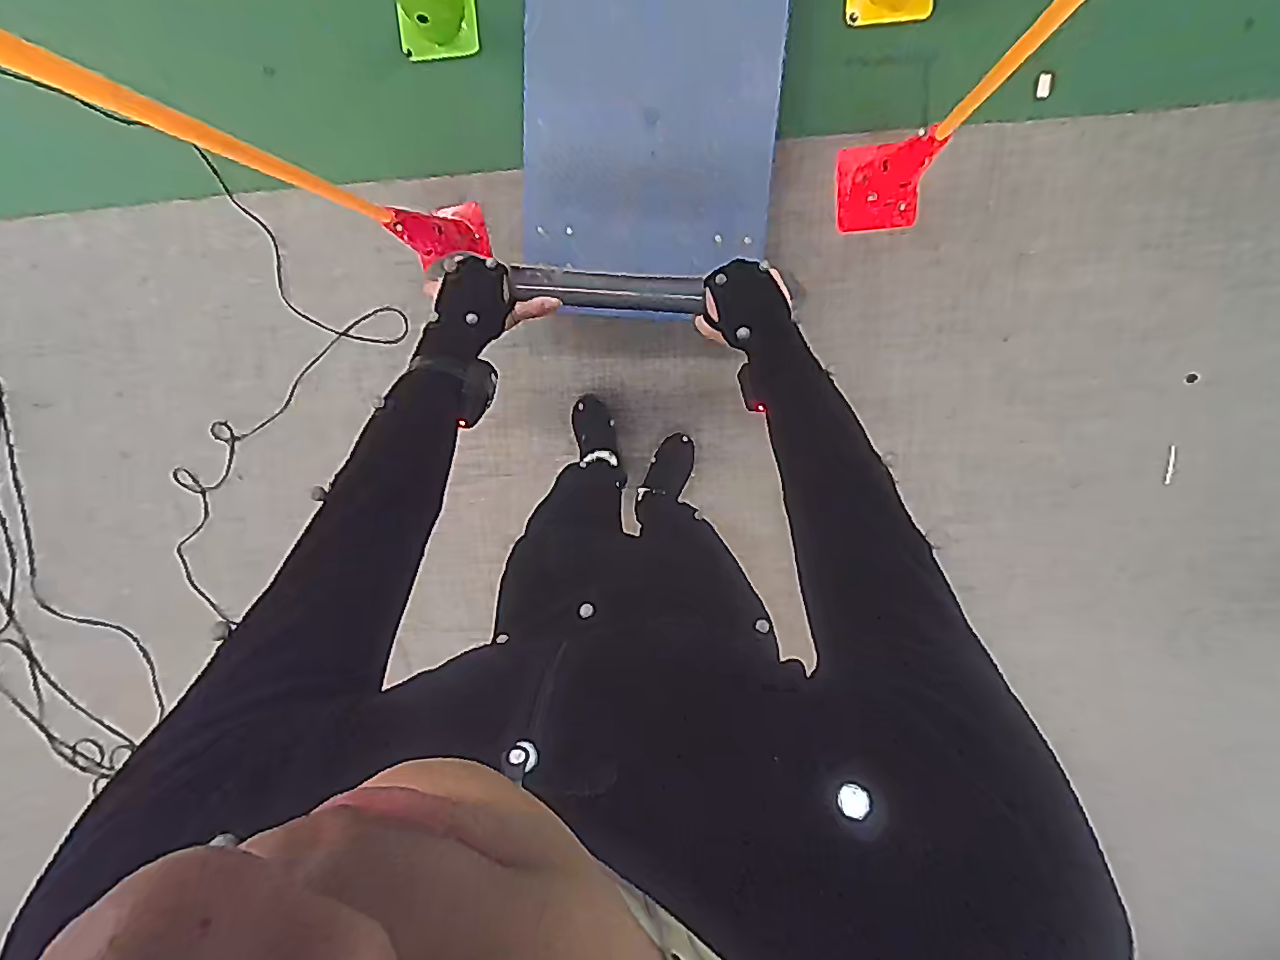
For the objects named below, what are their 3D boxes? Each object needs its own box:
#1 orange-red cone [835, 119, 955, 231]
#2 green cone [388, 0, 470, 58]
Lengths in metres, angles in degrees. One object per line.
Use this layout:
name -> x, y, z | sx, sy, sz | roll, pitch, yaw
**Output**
orange-red cone -> 0.579, -0.694, 1.181 | 0.198, 0.360, 0.199 | -3, 101, 4
green cone -> -0.533, -1.117, 1.156 | 0.200, 0.368, 0.202 | -3, 102, 5
